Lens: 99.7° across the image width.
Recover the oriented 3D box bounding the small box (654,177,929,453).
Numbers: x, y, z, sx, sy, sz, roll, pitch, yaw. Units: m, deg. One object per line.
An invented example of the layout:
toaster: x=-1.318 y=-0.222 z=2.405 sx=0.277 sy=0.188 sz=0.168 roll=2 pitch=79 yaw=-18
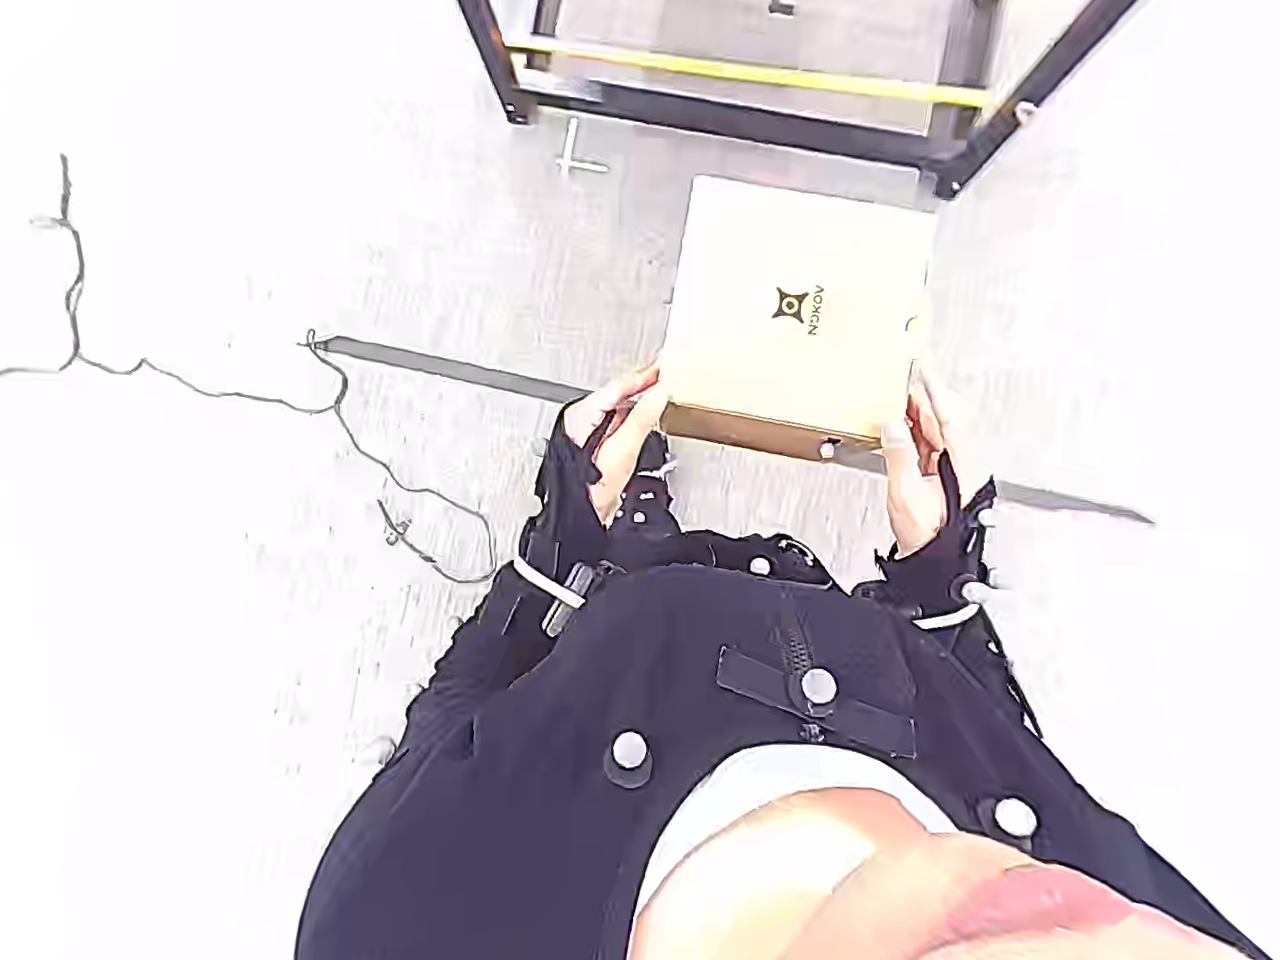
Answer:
small box: x=0.111 y=-0.122 z=0.466 sx=0.179 sy=0.176 sz=0.168 roll=10 pitch=87 yaw=1
